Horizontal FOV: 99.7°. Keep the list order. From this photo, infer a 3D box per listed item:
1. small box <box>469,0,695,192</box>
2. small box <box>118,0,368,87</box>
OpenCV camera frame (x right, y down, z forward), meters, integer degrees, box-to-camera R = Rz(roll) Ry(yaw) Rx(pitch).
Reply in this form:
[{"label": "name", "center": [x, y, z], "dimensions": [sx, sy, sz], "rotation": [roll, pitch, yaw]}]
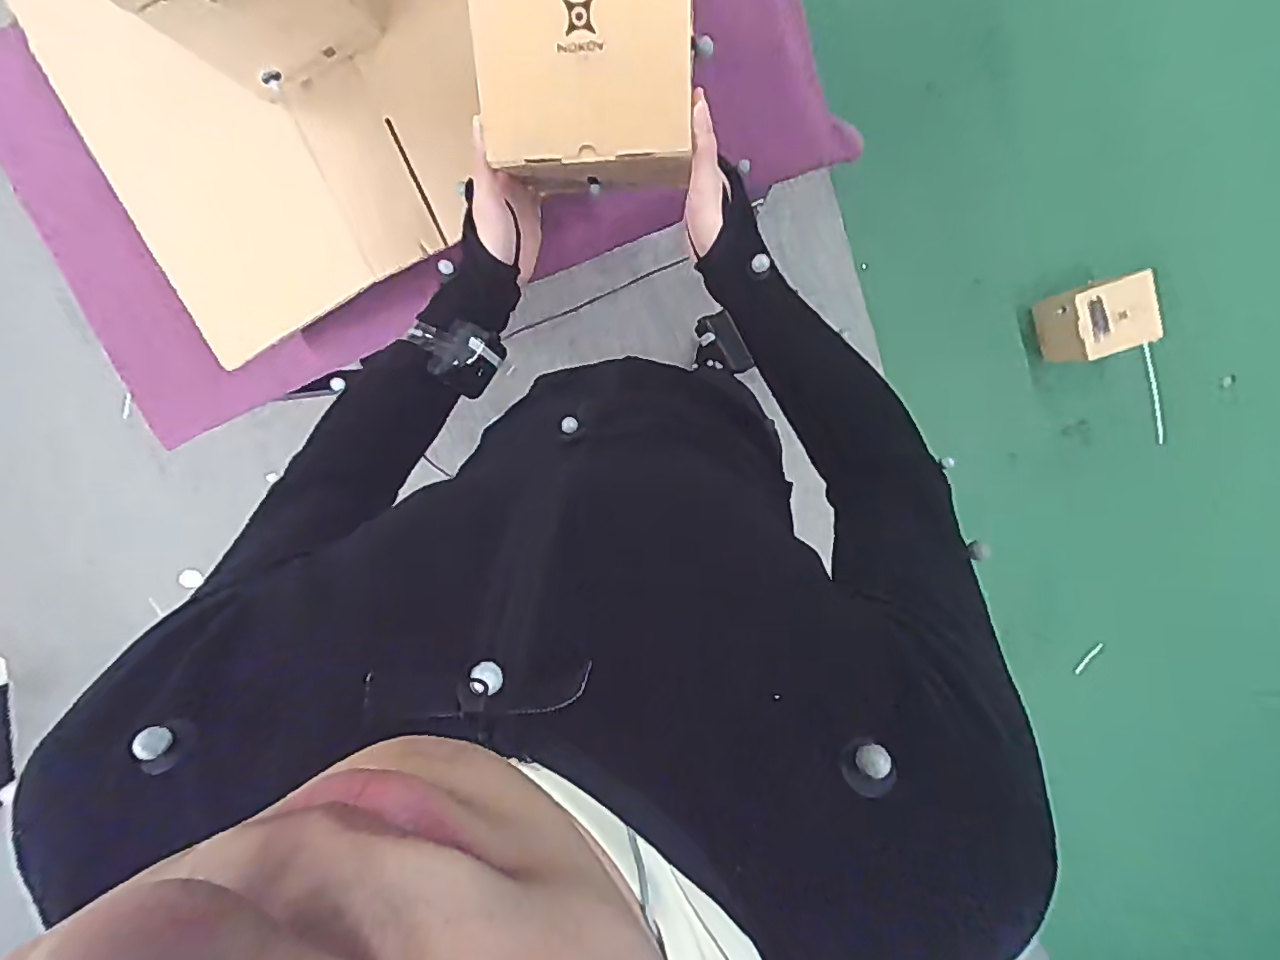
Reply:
[{"label": "small box", "center": [-0.038, -0.359, 0.467], "dimensions": [0.168, 0.176, 0.179], "rotation": [0, 113, 5]}, {"label": "small box", "center": [-0.409, -0.532, 0.530], "dimensions": [0.168, 0.176, 0.179], "rotation": [-23, 100, 6]}]
